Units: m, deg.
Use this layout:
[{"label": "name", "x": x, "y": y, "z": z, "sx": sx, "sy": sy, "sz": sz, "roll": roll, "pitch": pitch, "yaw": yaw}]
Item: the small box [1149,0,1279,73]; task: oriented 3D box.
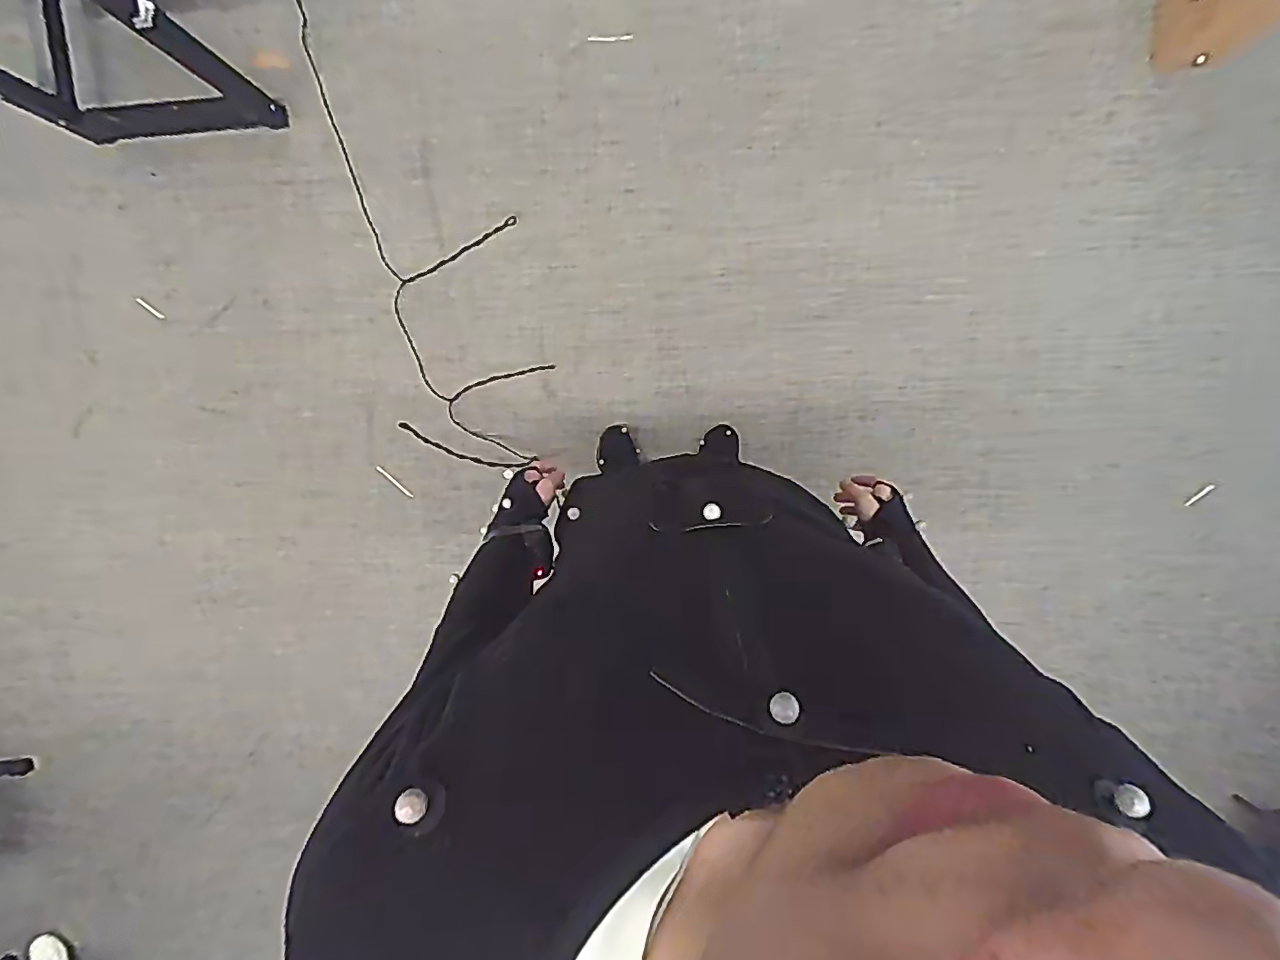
[{"label": "small box", "x": 1.437, "y": -1.167, "z": 1.356, "sx": 0.168, "sy": 0.176, "sz": 0.179, "roll": 0, "pitch": 97, "yaw": 3}]
